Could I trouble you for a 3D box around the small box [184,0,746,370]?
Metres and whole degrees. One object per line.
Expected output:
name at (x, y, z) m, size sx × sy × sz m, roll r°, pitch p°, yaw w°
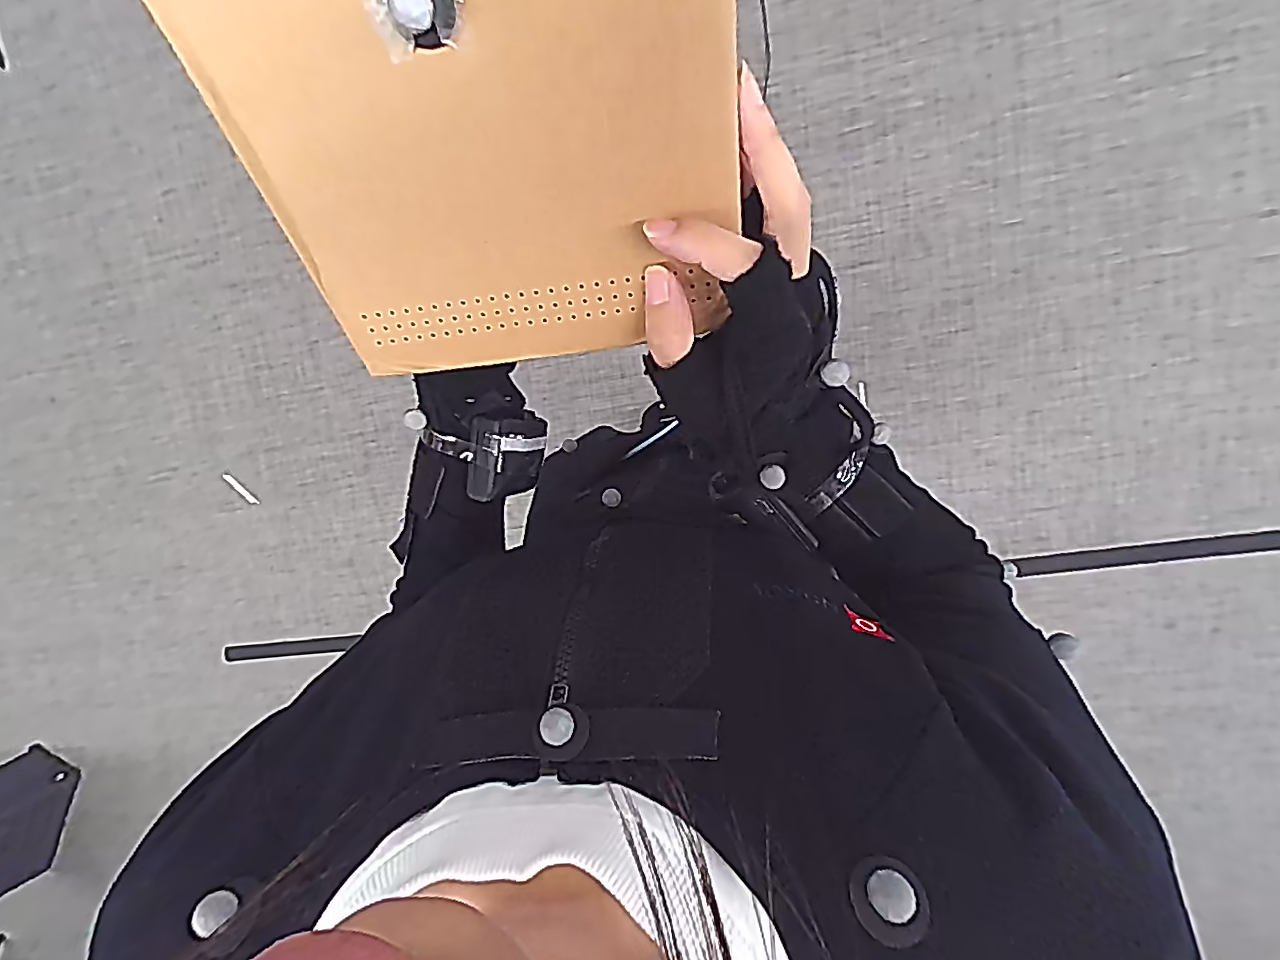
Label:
small box at (-0.048, -0.166, 0.249) m, size 0.179 × 0.168 × 0.176 m, roll -5°, pitch 136°, yaw 7°
